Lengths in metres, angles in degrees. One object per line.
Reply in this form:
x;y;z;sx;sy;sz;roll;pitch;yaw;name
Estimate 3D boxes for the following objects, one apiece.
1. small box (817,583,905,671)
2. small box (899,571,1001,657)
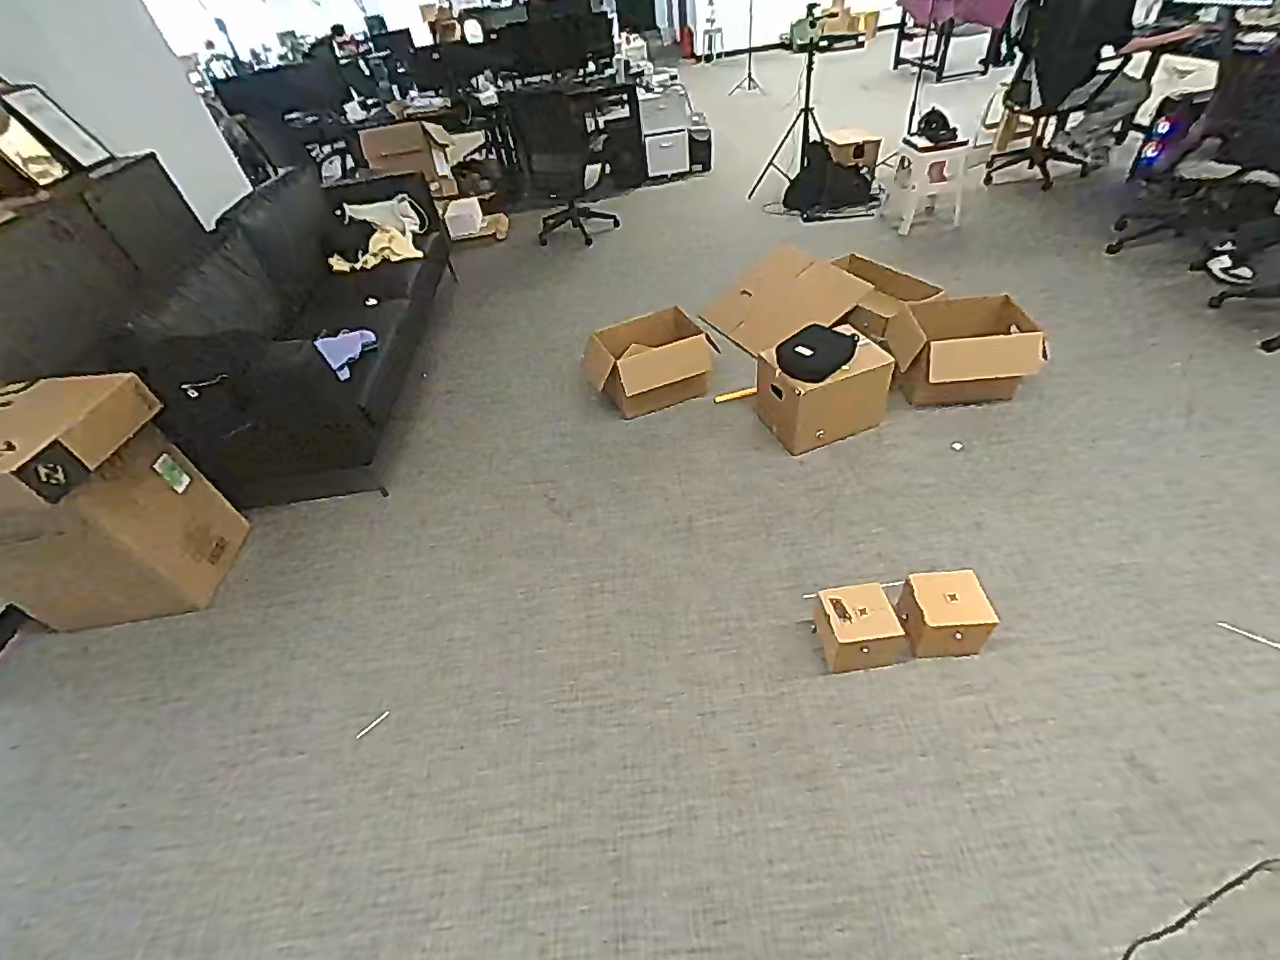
0.600;0.410;1.495;0.179;0.176;0.168;-8;44;1;small box
0.843;0.371;1.489;0.179;0.176;0.168;-6;44;7;small box
